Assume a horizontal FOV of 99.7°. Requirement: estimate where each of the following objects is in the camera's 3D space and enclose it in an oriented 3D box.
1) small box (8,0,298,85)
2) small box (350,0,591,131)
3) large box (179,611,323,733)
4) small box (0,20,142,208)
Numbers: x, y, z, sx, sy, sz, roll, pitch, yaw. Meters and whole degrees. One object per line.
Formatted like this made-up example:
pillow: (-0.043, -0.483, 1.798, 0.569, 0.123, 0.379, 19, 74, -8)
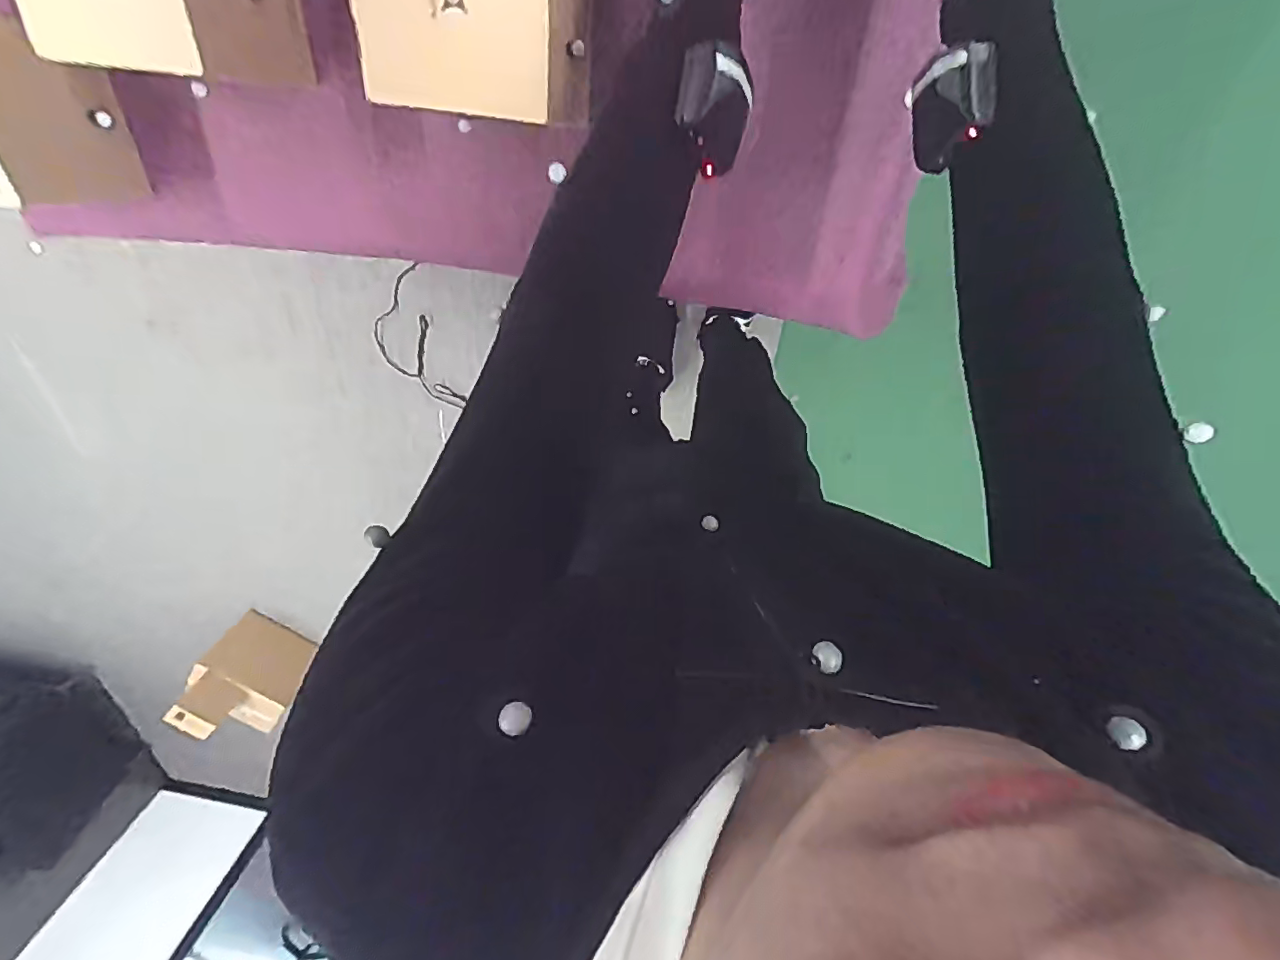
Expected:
small box: (-0.471, -0.497, 0.526, 0.179, 0.176, 0.168, 10, 124, 4)
small box: (-0.146, -0.440, 0.509, 0.179, 0.176, 0.168, 10, 125, 5)
large box: (-1.768, 0.876, 2.475, 0.408, 0.320, 0.320, 35, 123, -15)
small box: (-0.750, -0.425, 0.622, 0.168, 0.176, 0.179, 8, 123, 5)
